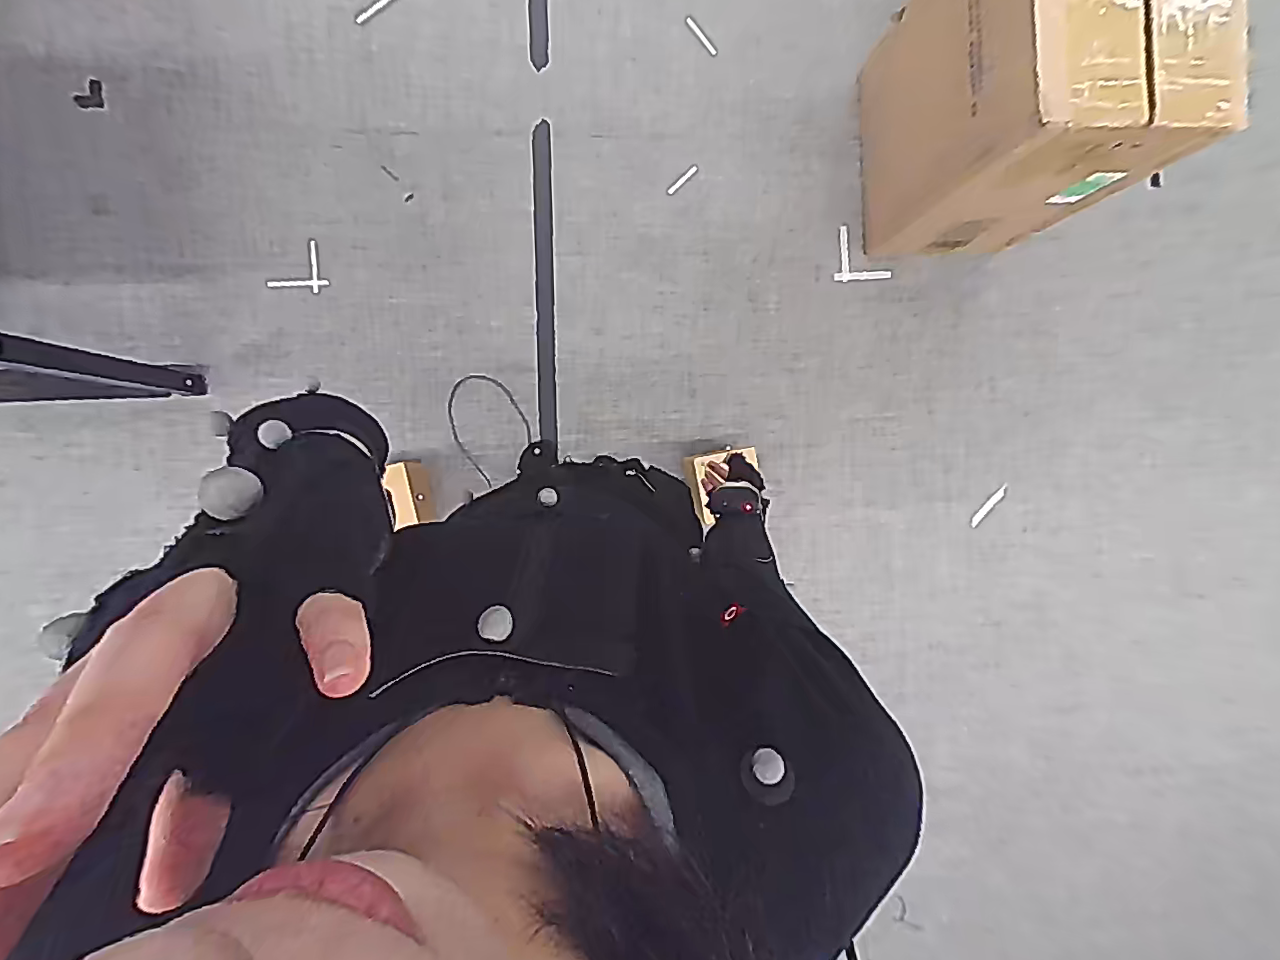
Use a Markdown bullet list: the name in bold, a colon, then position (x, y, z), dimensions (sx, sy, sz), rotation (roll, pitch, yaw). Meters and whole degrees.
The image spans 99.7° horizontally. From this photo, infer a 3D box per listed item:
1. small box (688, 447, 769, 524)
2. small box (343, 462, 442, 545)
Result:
- **small box**: position (0.235, 0.009, 1.467), dimensions (0.168, 0.176, 0.179), rotation (-11, 94, -4)
- **small box**: position (-0.630, 0.056, 1.396), dimensions (0.168, 0.176, 0.179), rotation (-13, 91, -5)
